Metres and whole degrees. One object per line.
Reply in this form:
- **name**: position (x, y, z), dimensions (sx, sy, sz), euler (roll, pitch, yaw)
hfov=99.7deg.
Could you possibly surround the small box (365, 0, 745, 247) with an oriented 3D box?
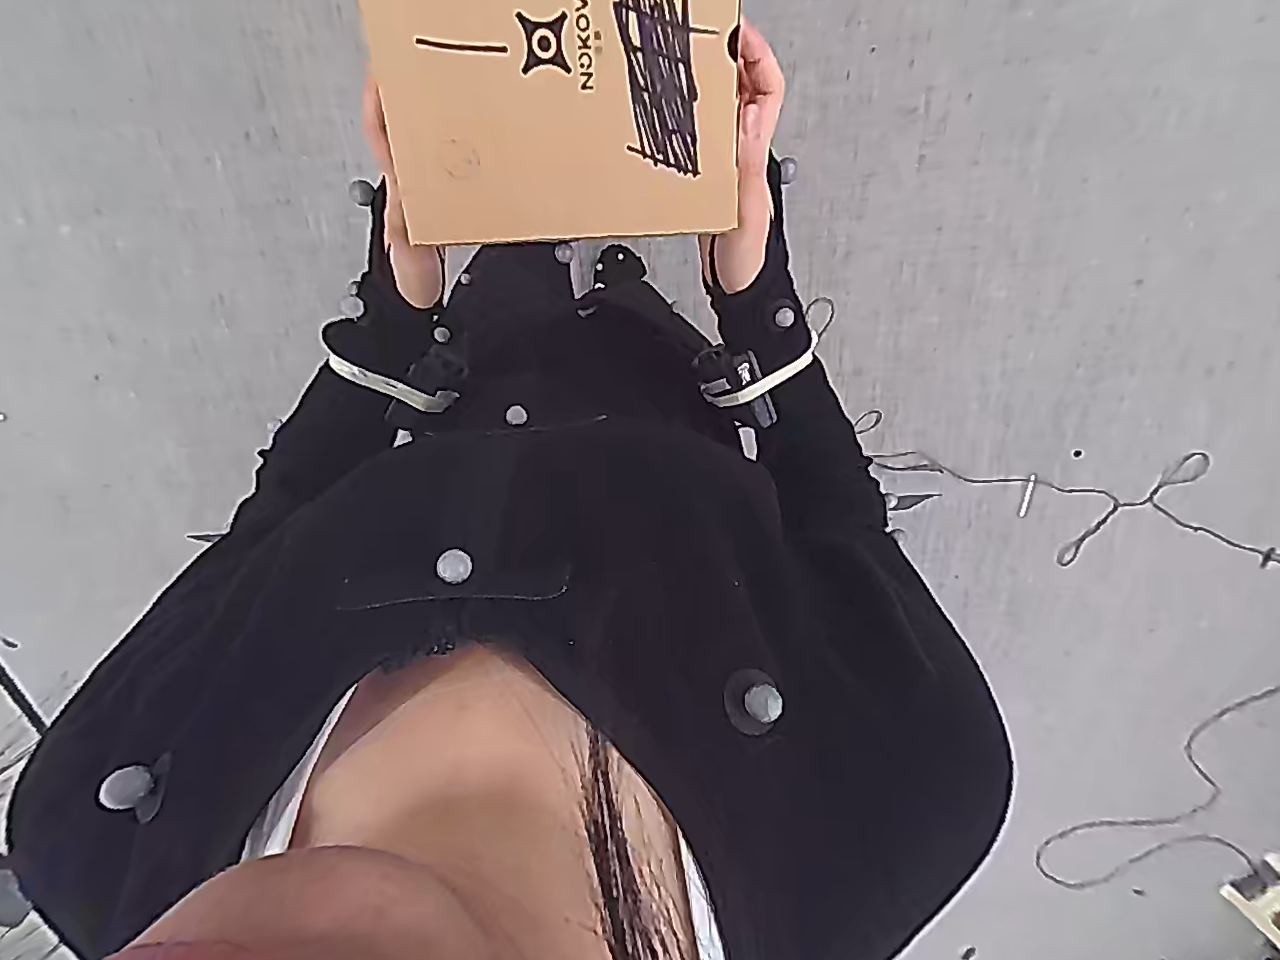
- **small box**: position (-0.046, -0.236, 0.326), dimensions (0.179, 0.176, 0.168), euler (-5, 115, -5)
